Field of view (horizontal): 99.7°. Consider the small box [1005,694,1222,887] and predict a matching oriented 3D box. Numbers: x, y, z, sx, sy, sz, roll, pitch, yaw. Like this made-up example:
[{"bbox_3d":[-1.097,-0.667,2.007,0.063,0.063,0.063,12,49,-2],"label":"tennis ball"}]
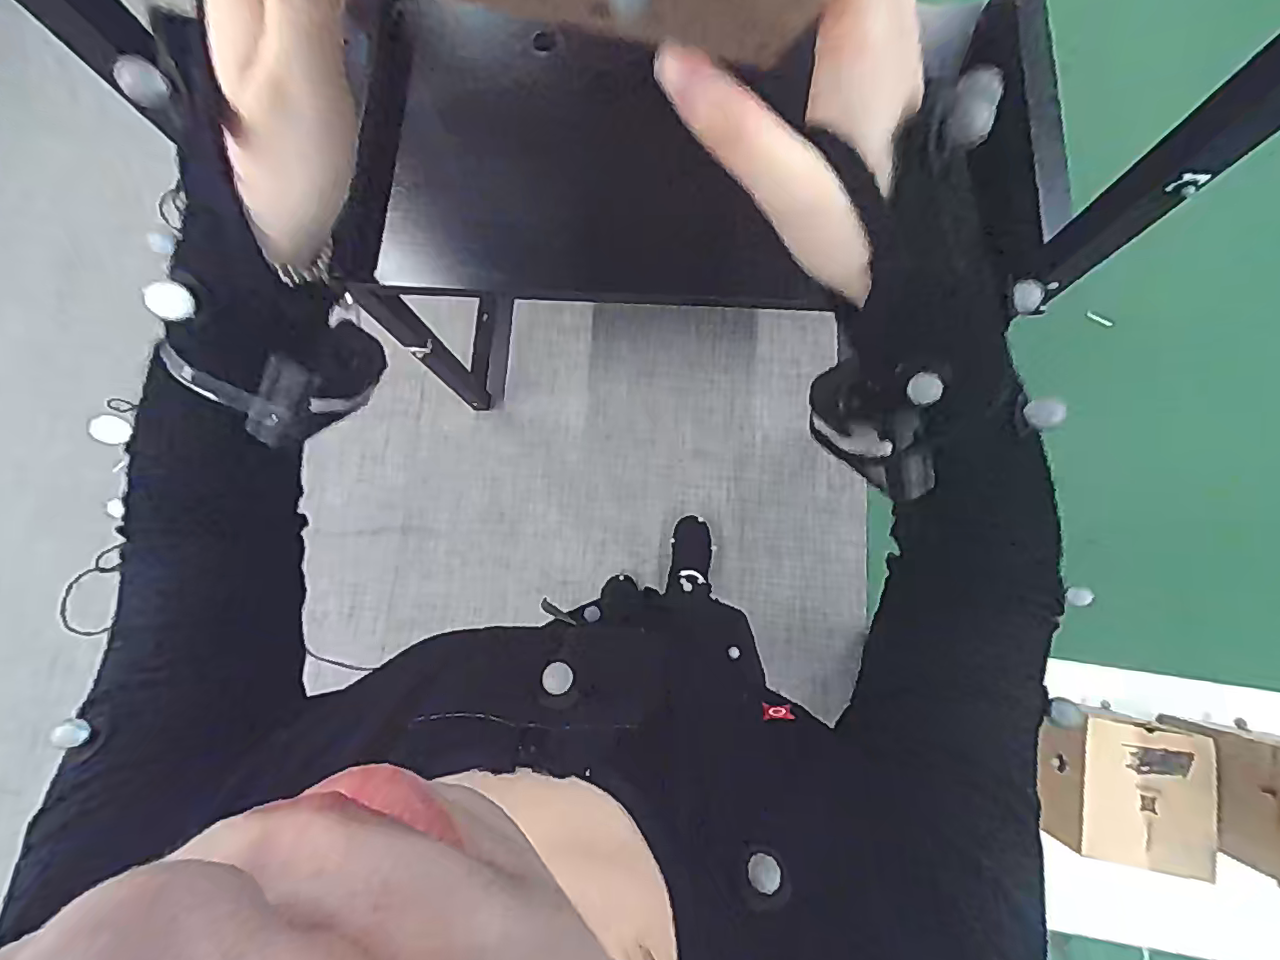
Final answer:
[{"bbox_3d":[0.653,0.419,0.765,0.168,0.176,0.179,10,81,4],"label":"small box"}]
